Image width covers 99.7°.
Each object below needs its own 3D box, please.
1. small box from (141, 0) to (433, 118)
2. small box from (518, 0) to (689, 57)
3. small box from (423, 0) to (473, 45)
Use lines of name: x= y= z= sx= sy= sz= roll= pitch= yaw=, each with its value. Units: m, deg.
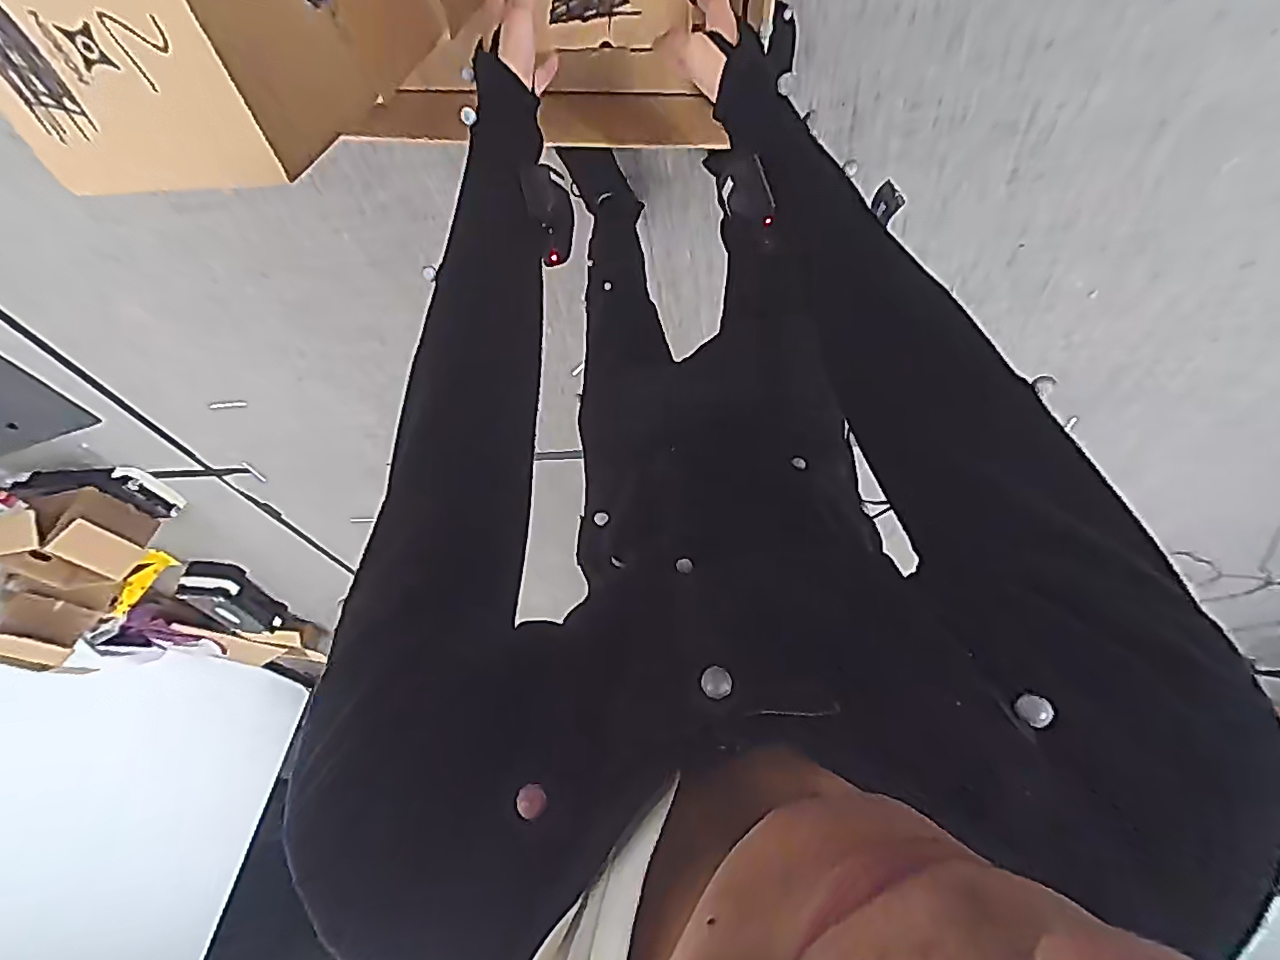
small box: x=-0.306 y=-0.444 z=0.461 sx=0.168 sy=0.176 sz=0.179 roll=0 pitch=143 yaw=7
small box: x=-0.031 y=-0.550 z=0.545 sx=0.168 sy=0.176 sz=0.179 roll=2 pitch=135 yaw=4
small box: x=-0.285 y=-0.574 z=0.558 sx=0.179 sy=0.176 sz=0.168 roll=1 pitch=144 yaw=5
